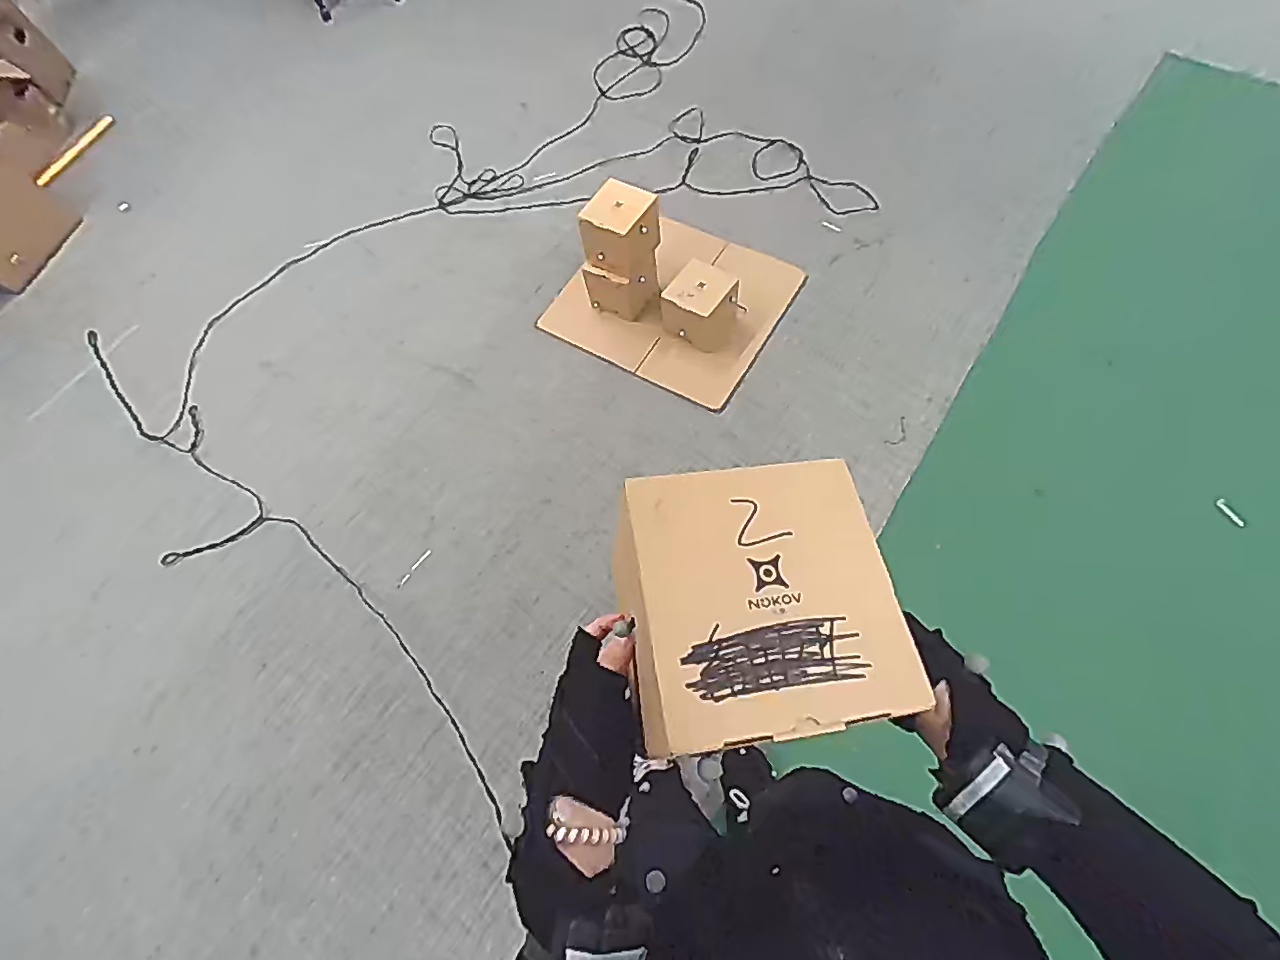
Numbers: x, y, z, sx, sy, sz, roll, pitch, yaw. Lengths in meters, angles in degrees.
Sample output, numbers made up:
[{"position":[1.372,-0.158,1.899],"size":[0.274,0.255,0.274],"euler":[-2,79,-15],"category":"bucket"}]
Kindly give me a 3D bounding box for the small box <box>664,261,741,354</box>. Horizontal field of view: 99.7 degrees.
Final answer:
[{"position":[0.192,-0.527,1.662],"size":[0.168,0.176,0.179],"euler":[33,74,19],"category":"small box"}]

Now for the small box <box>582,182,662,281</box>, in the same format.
[{"position":[-0.048,-0.729,1.594],"size":[0.168,0.176,0.179],"euler":[29,72,17],"category":"small box"}]

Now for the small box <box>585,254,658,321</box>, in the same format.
[{"position":[-0.051,-0.643,1.736],"size":[0.168,0.176,0.179],"euler":[27,71,16],"category":"small box"}]
